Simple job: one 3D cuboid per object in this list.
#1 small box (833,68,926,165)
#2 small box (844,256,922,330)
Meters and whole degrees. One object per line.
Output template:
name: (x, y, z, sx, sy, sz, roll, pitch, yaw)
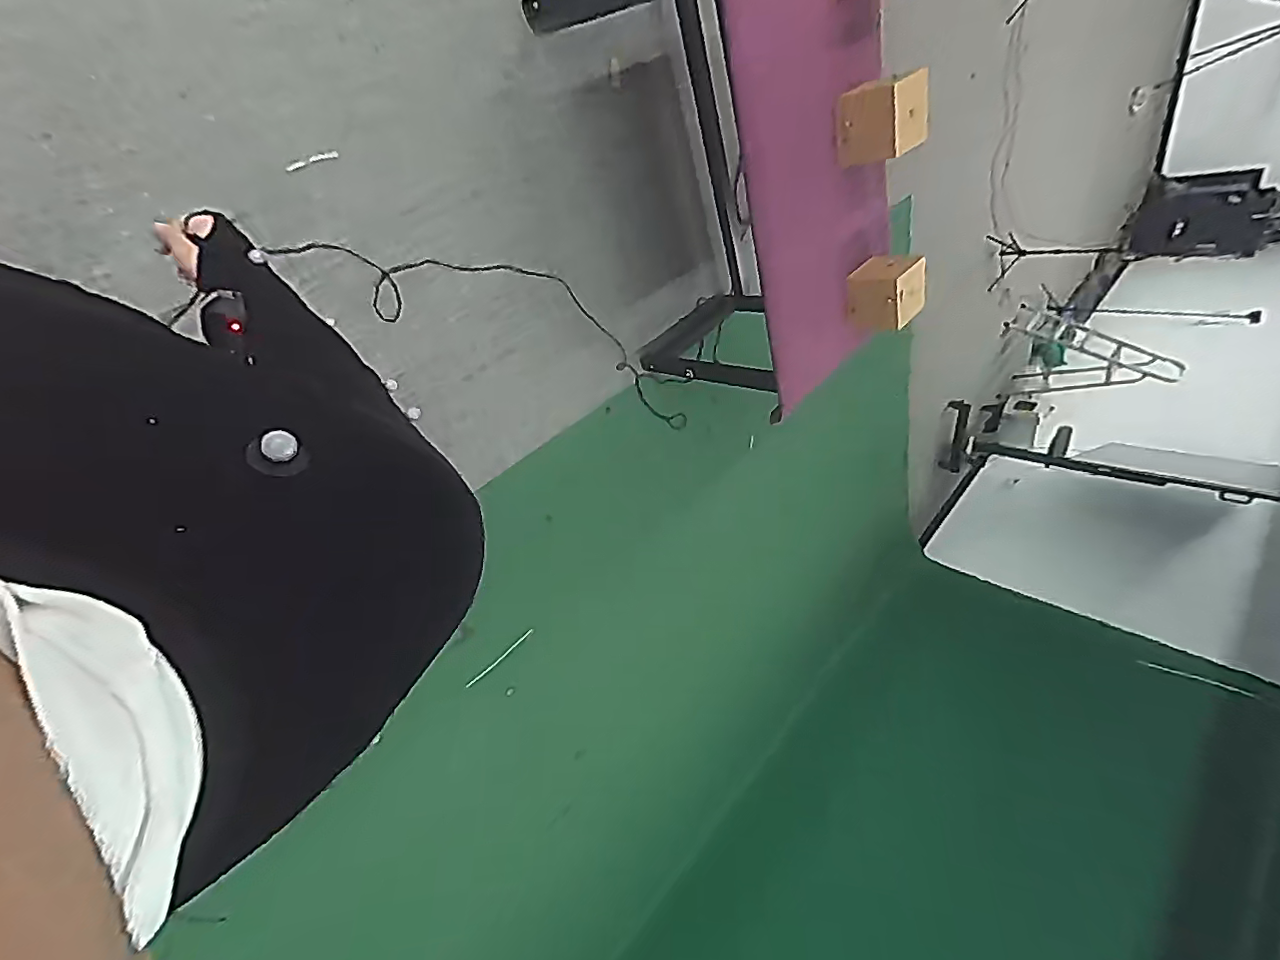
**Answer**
small box: (0.637, -0.965, 1.442, 0.179, 0.176, 0.168, -39, 128, -26)
small box: (0.765, -0.592, 1.703, 0.179, 0.176, 0.168, -41, 129, -26)
